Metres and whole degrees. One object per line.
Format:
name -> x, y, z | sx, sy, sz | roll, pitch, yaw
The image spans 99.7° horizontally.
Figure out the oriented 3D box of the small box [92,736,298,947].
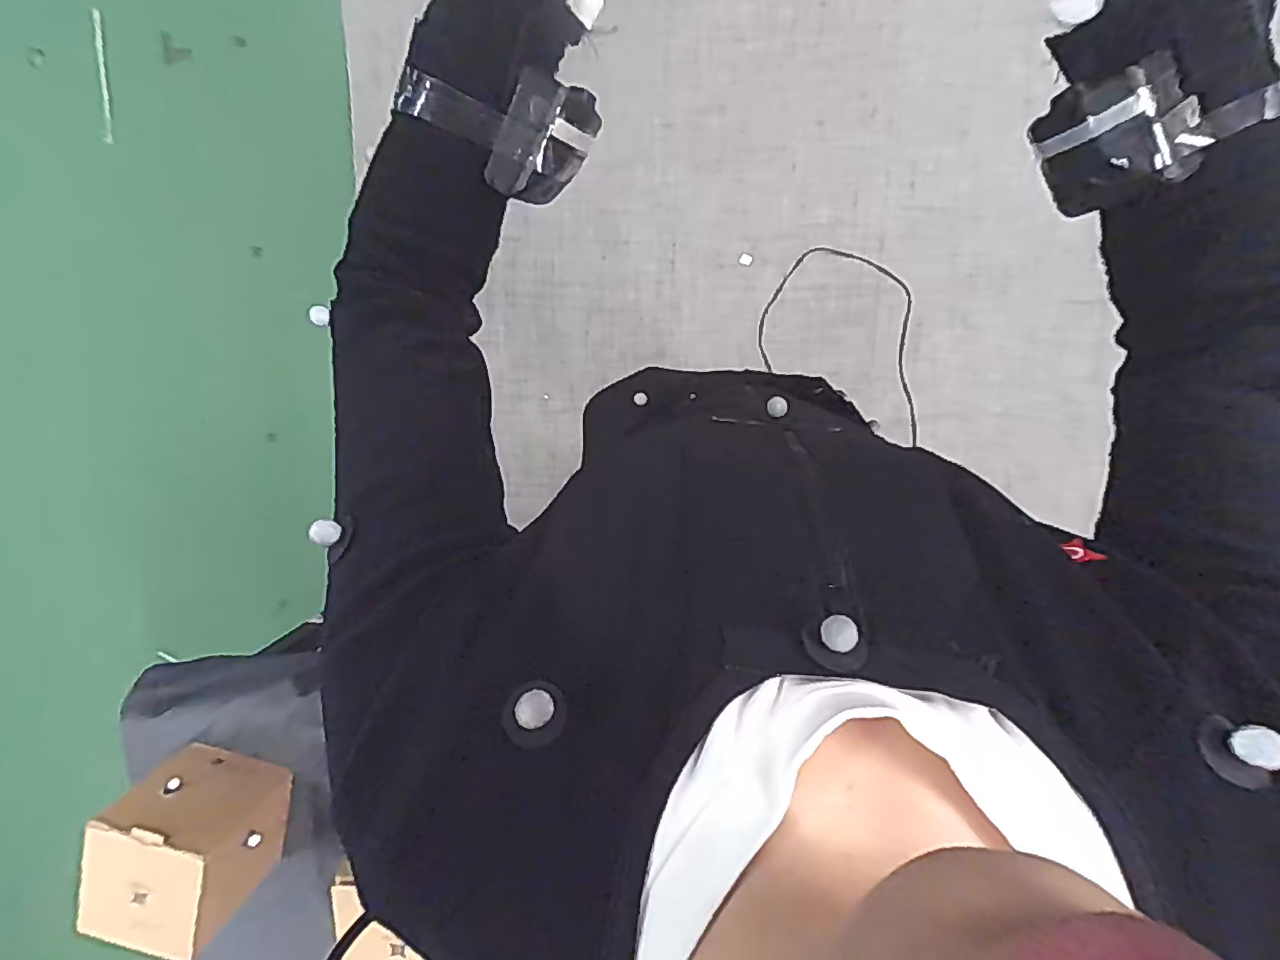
small box -> -0.641, 0.517, 0.797 | 0.168, 0.176, 0.179 | 15, 103, 3
